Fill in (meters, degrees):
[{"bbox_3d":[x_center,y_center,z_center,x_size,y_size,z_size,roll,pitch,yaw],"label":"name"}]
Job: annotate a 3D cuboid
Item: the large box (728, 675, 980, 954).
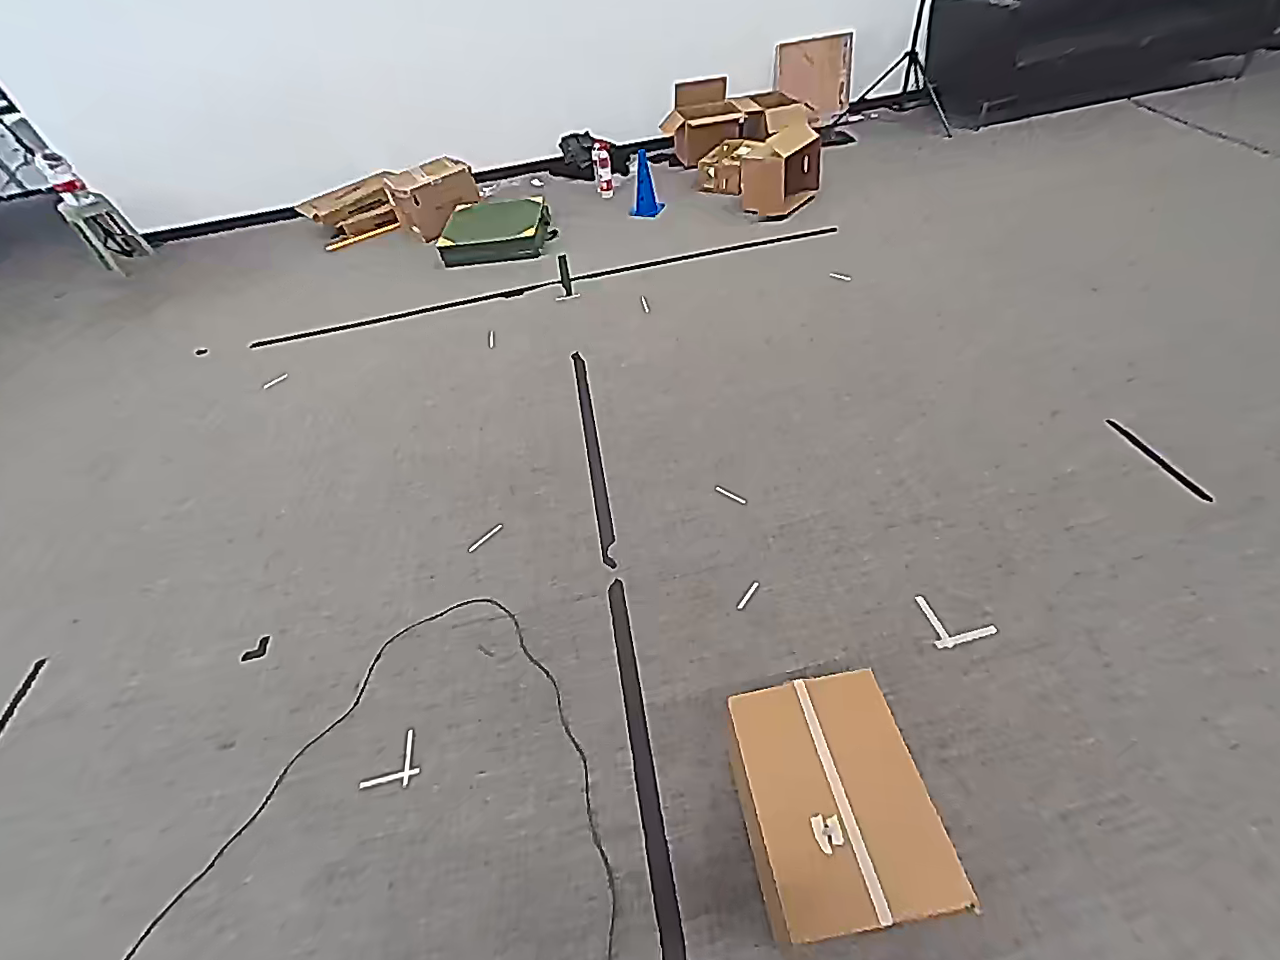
[{"bbox_3d":[0.384,0.679,1.111,0.320,0.320,0.408,-12,48,-1],"label":"large box"}]
